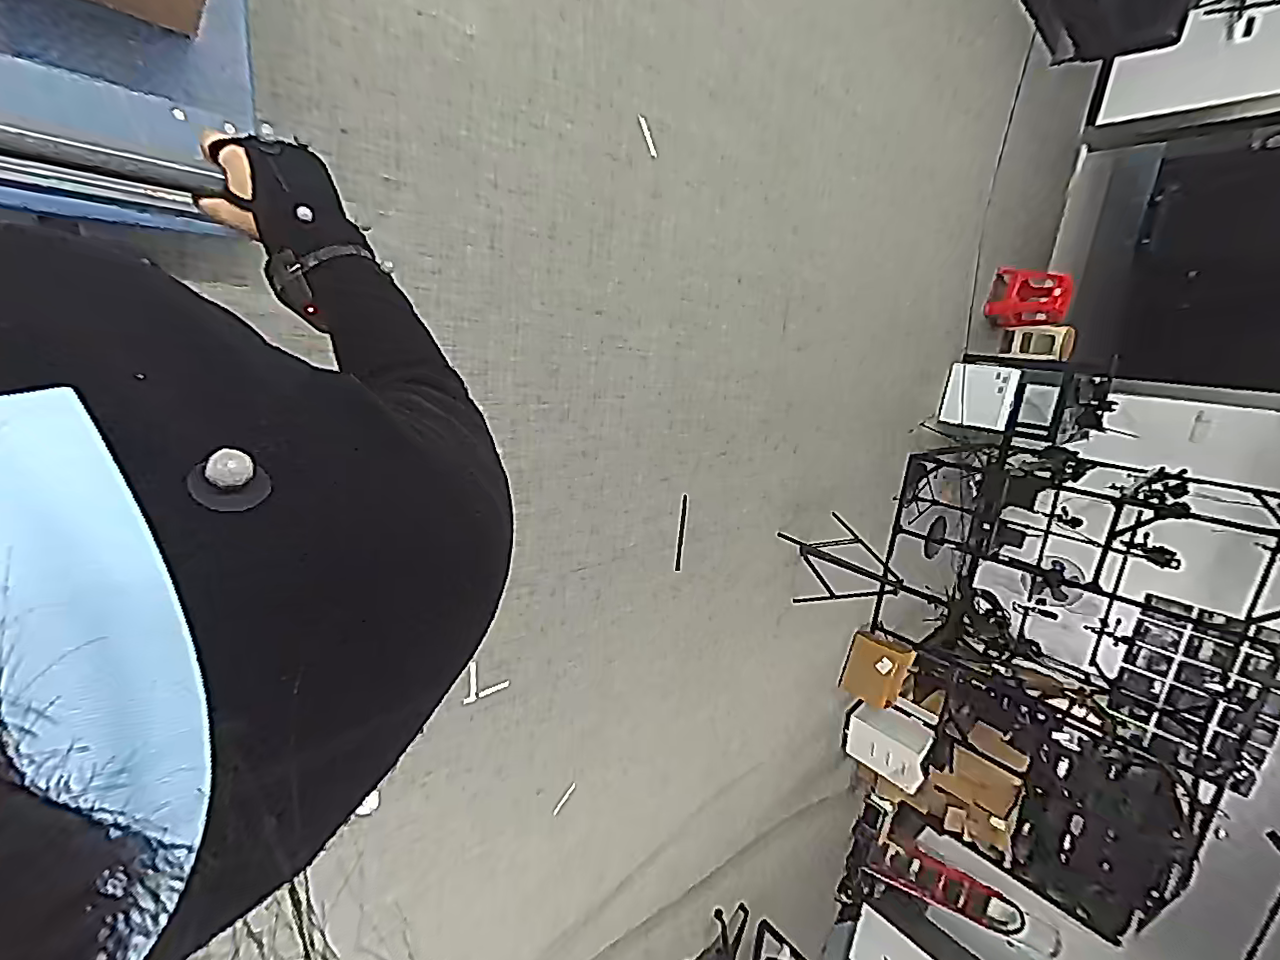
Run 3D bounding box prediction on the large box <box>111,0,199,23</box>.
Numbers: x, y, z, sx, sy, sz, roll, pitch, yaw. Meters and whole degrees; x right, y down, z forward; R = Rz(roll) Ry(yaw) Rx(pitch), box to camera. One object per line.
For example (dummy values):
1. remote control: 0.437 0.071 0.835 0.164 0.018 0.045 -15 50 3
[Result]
1. large box: -0.800 -0.857 0.649 0.408 0.320 0.320 -7 108 -42
